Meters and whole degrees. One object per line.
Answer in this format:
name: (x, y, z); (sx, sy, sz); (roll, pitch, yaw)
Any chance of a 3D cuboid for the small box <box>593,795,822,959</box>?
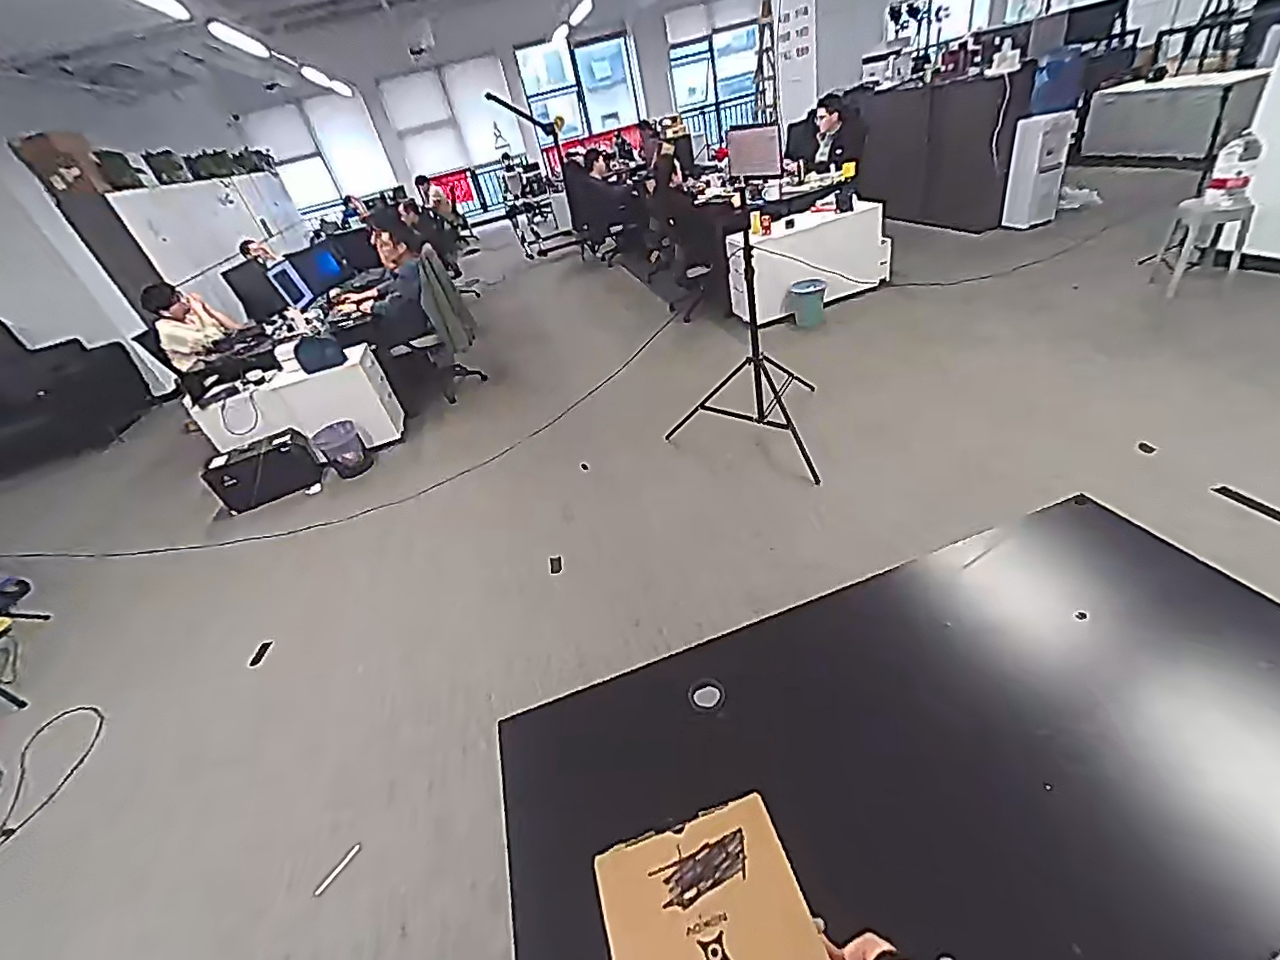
small box: (0.068, 0.435, 0.494); (0.168, 0.176, 0.179); (-18, 40, -6)
